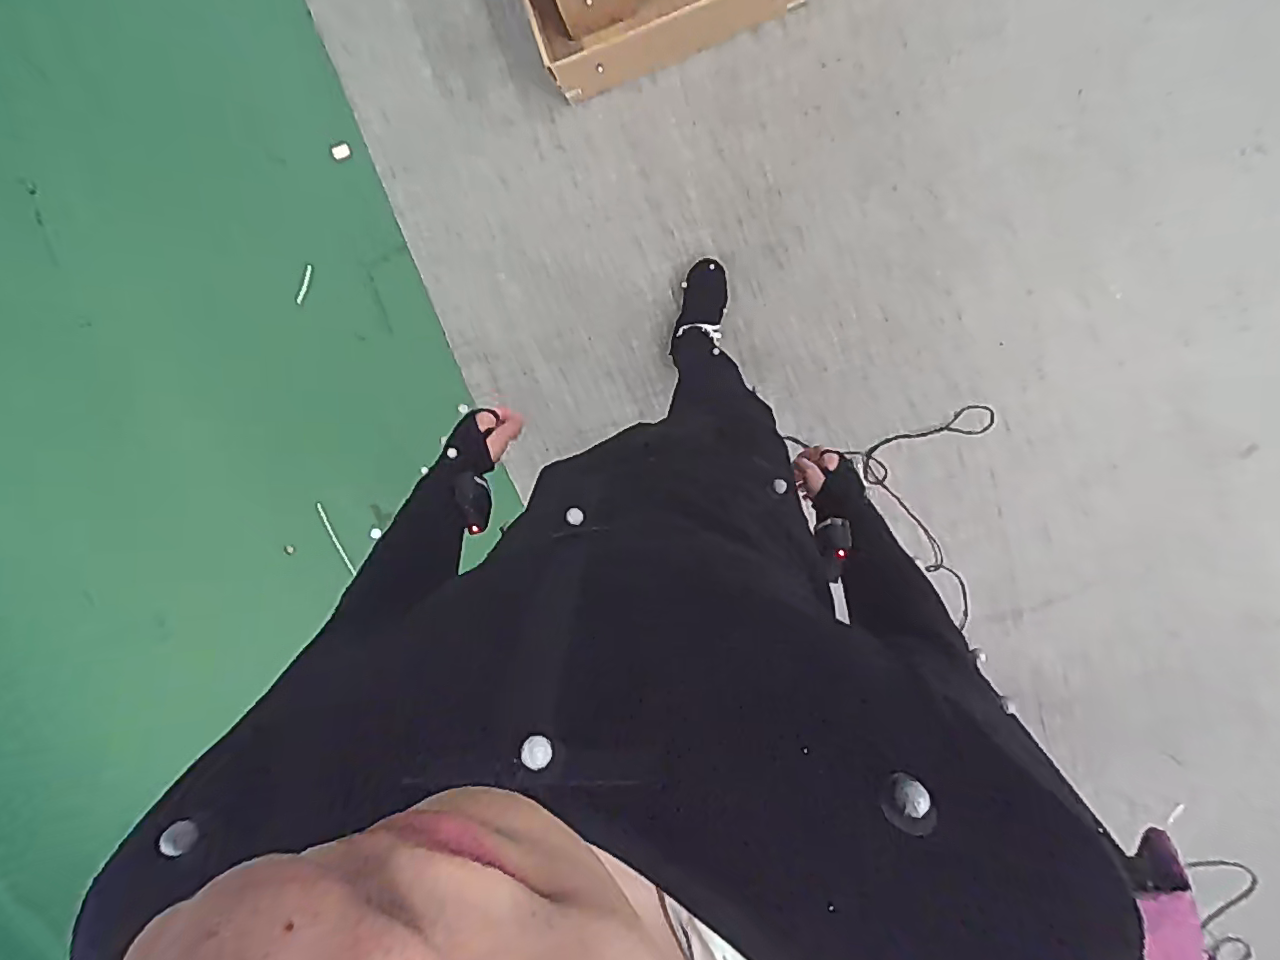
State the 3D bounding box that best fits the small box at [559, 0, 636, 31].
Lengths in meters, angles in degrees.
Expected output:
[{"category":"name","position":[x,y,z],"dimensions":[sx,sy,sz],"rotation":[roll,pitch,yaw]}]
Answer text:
[{"category":"small box","position":[-0.113,-1.117,1.146],"dimensions":[0.168,0.176,0.179],"rotation":[-14,105,10]}]
